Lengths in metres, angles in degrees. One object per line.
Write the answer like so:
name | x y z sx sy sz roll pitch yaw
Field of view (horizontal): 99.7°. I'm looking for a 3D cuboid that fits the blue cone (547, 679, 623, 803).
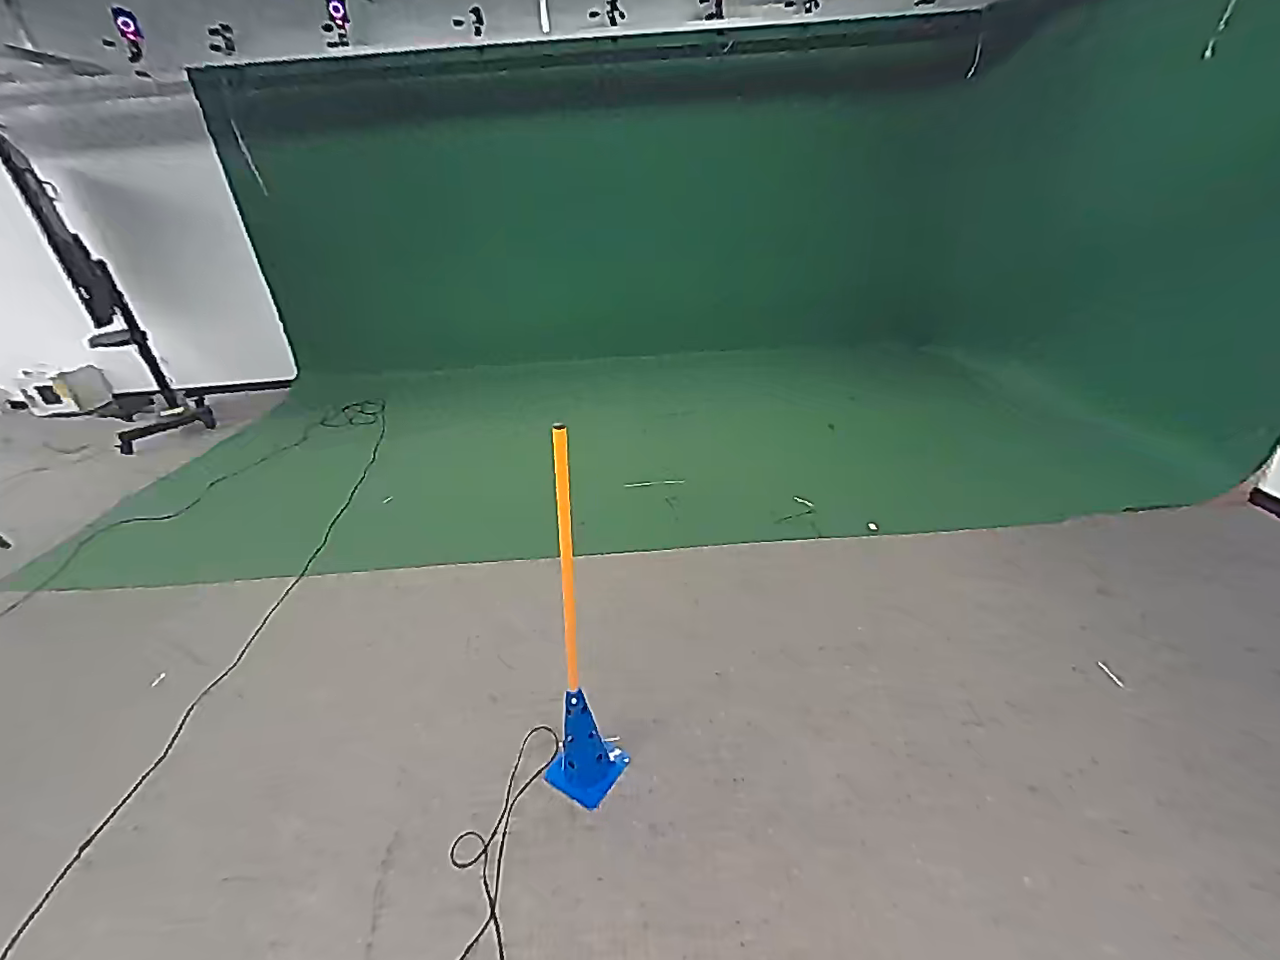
blue cone | -0.173 0.719 1.563 0.192 0.380 0.193 14 32 28
